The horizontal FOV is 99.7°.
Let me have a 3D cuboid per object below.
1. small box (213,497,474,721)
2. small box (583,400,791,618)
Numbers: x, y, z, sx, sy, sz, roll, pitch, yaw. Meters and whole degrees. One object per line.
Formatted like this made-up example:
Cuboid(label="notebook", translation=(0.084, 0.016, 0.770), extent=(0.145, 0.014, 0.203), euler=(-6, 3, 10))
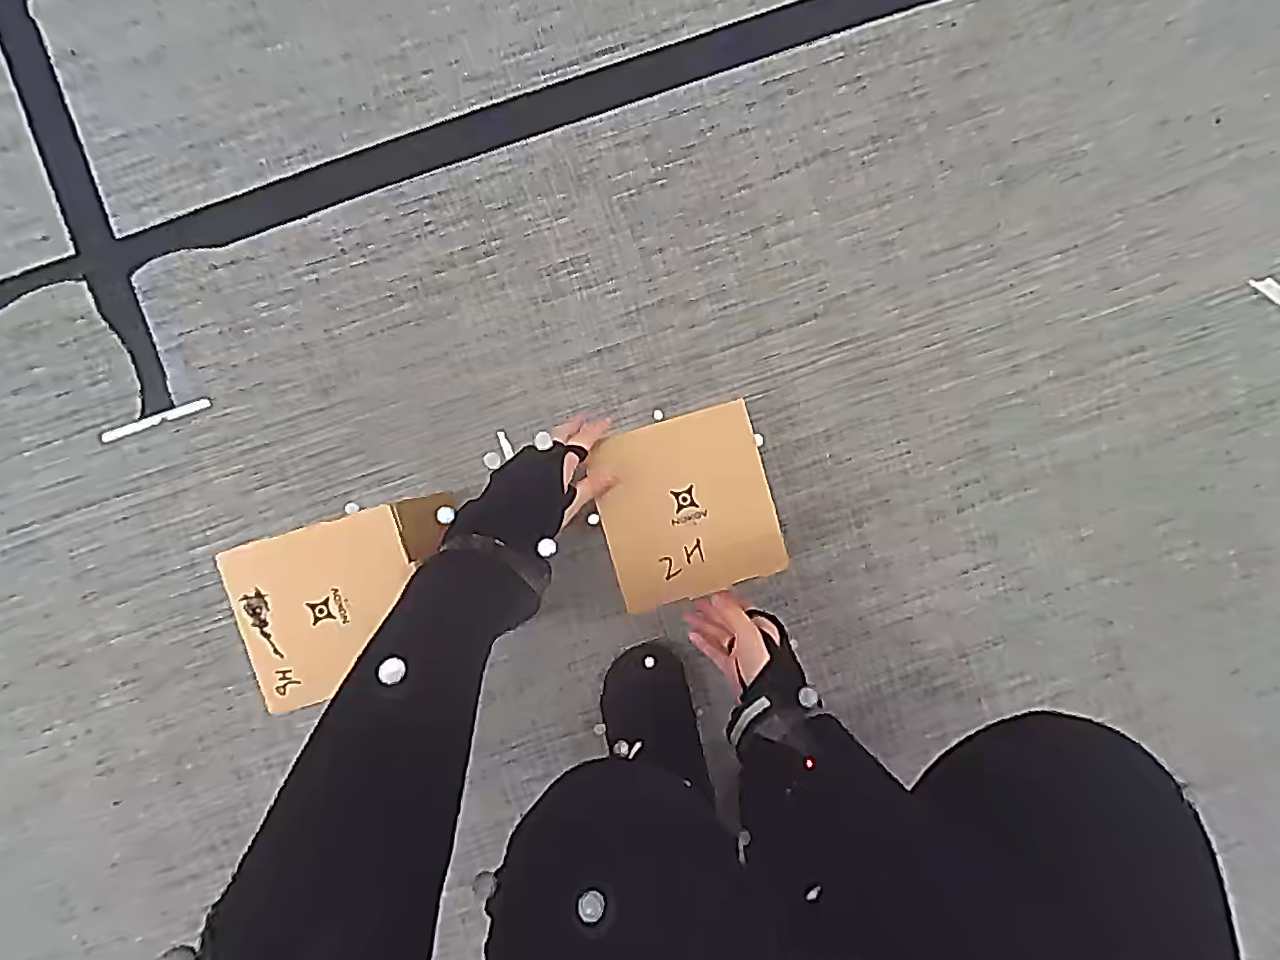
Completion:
Cuboid(label="small box", translation=(-0.293, 0.121, 0.583), extent=(0.179, 0.176, 0.168), euler=(-16, 93, -2))
Cuboid(label="small box", translation=(0.041, 0.025, 0.590), extent=(0.168, 0.176, 0.179), euler=(-16, 93, -1))
